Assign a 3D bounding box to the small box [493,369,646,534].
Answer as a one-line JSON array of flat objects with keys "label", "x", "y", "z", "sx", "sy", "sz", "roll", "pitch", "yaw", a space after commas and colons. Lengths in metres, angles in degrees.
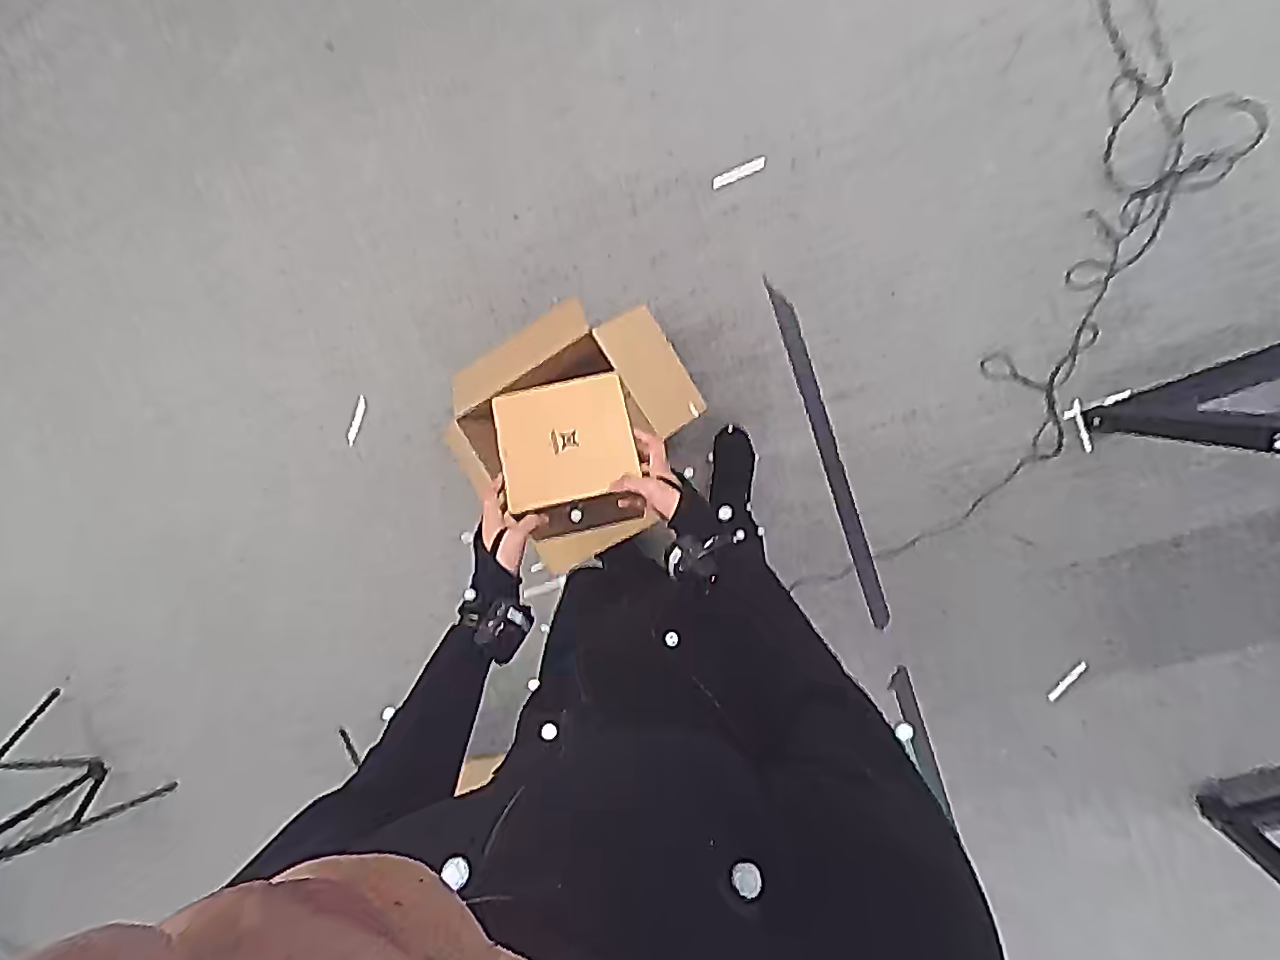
[{"label": "small box", "x": -0.092, "y": -0.032, "z": 0.770, "sx": 0.179, "sy": 0.176, "sz": 0.168, "roll": -13, "pitch": 72, "yaw": -2}]
